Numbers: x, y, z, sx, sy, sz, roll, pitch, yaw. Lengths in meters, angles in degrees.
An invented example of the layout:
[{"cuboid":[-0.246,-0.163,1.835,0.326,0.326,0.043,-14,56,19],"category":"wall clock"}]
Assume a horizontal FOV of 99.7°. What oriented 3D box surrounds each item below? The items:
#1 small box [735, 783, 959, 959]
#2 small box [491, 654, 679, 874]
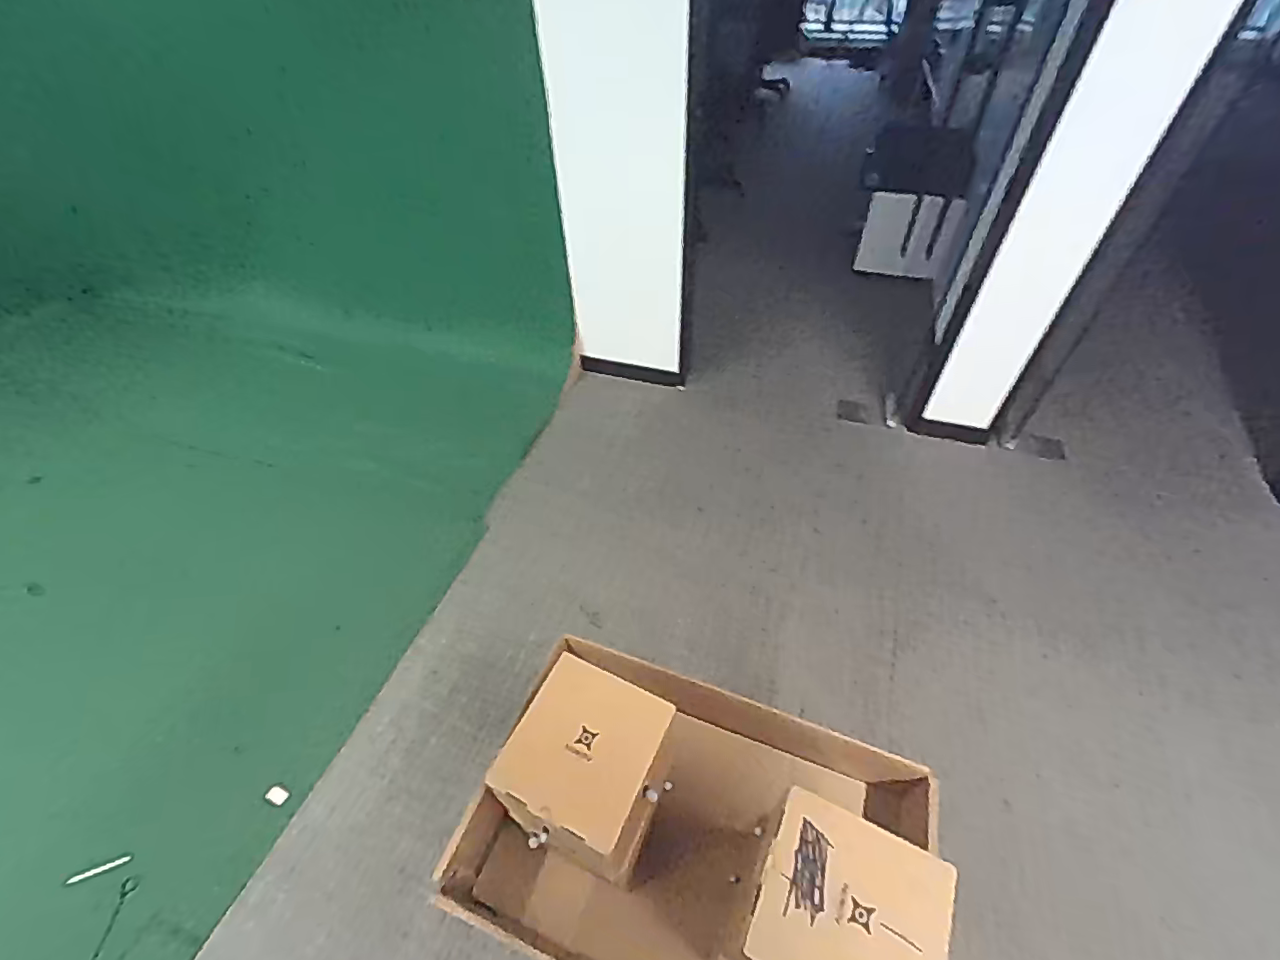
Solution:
[{"cuboid":[0.213,0.473,0.587,0.179,0.176,0.168,20,51,20],"category":"small box"},{"cuboid":[-0.062,0.366,0.700,0.168,0.176,0.179,20,51,19],"category":"small box"}]
